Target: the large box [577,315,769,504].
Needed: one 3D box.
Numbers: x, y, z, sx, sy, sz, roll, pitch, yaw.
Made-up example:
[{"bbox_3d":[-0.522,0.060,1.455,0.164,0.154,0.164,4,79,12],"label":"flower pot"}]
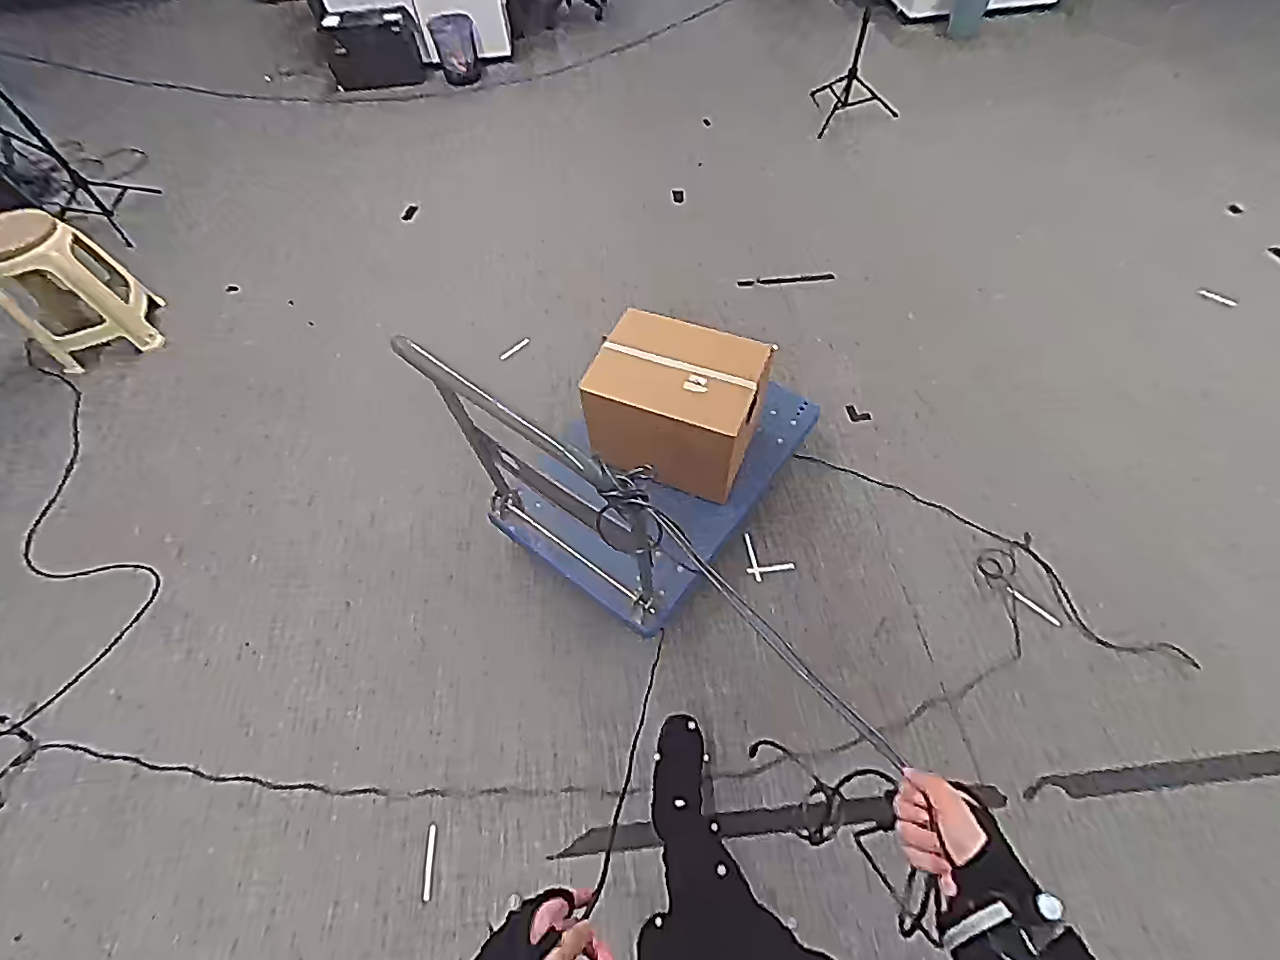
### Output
[{"bbox_3d":[0.088,-0.186,1.457,0.408,0.320,0.320,19,61,13],"label":"large box"}]
